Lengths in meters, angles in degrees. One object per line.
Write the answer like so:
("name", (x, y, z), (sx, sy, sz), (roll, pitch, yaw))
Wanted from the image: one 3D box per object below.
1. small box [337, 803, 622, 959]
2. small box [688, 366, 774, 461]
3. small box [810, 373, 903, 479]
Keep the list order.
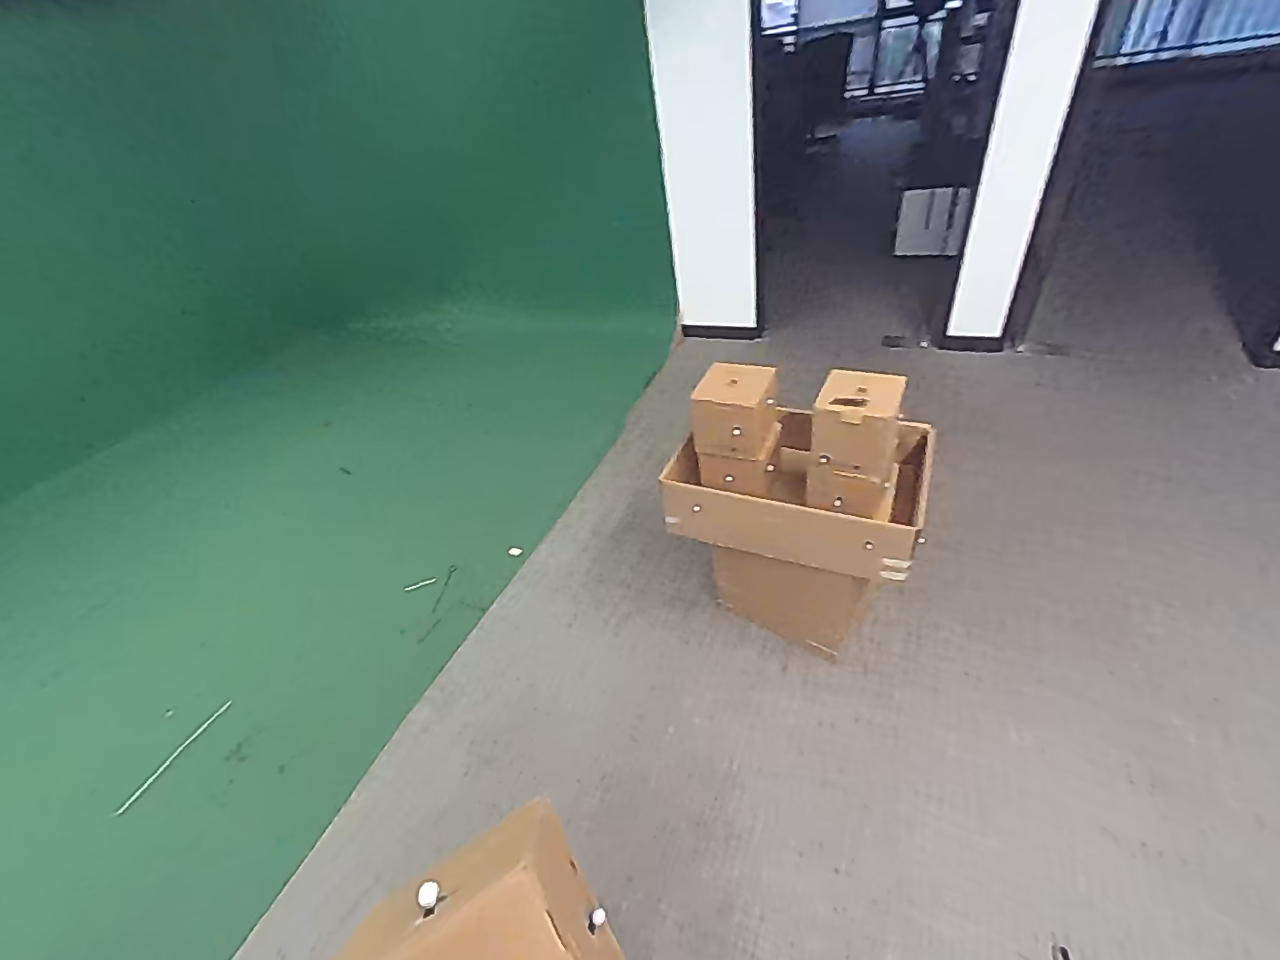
("small box", (-0.117, 0.394, 0.419), (0.179, 0.176, 0.168), (-26, 78, -13))
("small box", (0.237, -0.168, 1.372), (0.168, 0.176, 0.179), (12, 44, 25))
("small box", (0.500, -0.126, 1.260), (0.168, 0.176, 0.179), (13, 45, 27))
